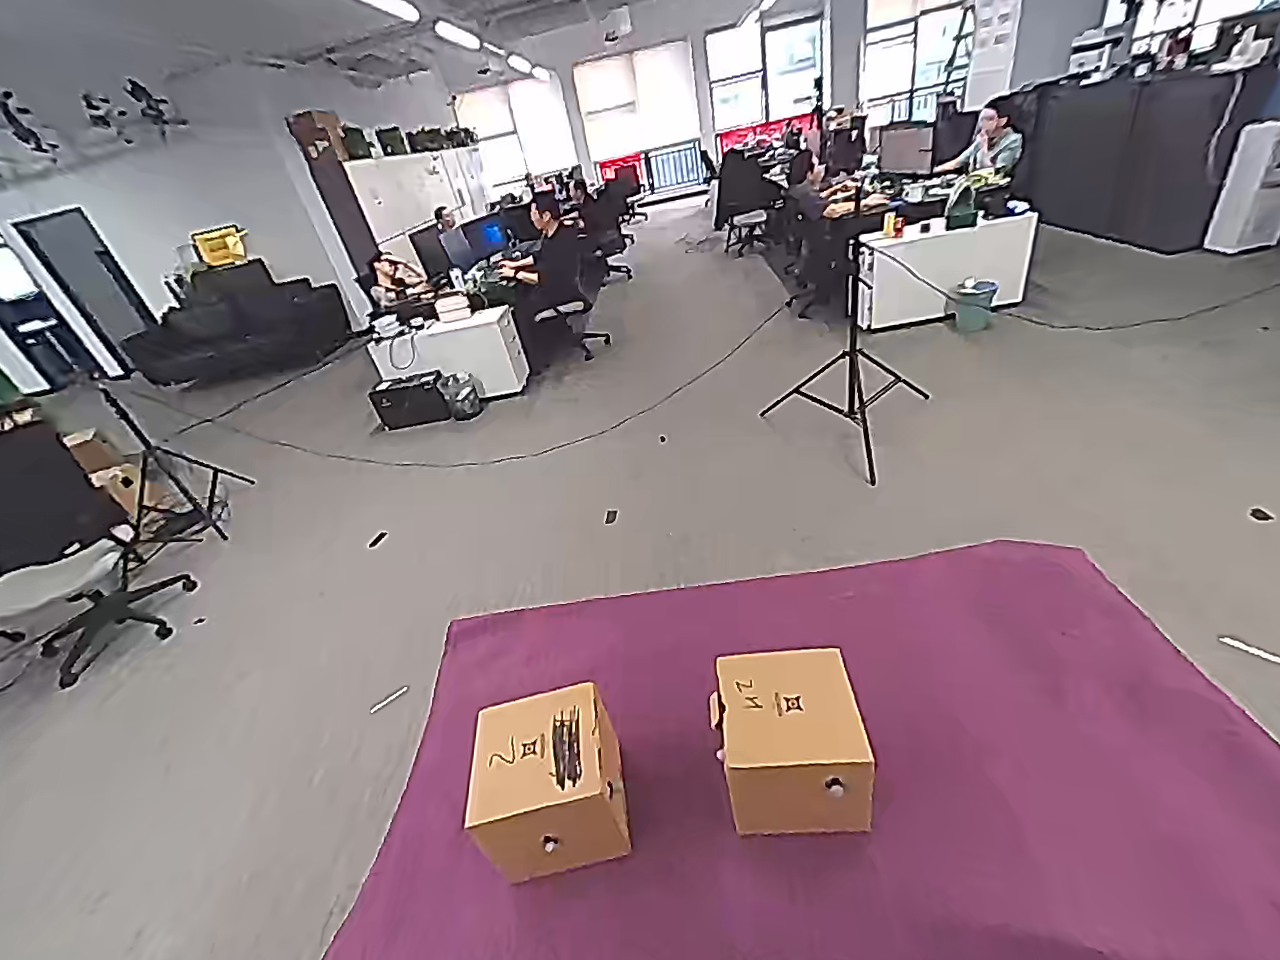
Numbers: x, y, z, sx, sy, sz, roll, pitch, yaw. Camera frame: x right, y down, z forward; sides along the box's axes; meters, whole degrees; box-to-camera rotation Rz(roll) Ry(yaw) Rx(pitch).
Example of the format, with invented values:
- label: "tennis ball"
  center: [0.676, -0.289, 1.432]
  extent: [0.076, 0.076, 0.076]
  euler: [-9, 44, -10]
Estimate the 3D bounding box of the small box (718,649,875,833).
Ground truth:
- label: "small box"
  center: [0.208, 0.360, 0.747]
  extent: [0.179, 0.176, 0.168]
  euler: [-8, 32, 9]
